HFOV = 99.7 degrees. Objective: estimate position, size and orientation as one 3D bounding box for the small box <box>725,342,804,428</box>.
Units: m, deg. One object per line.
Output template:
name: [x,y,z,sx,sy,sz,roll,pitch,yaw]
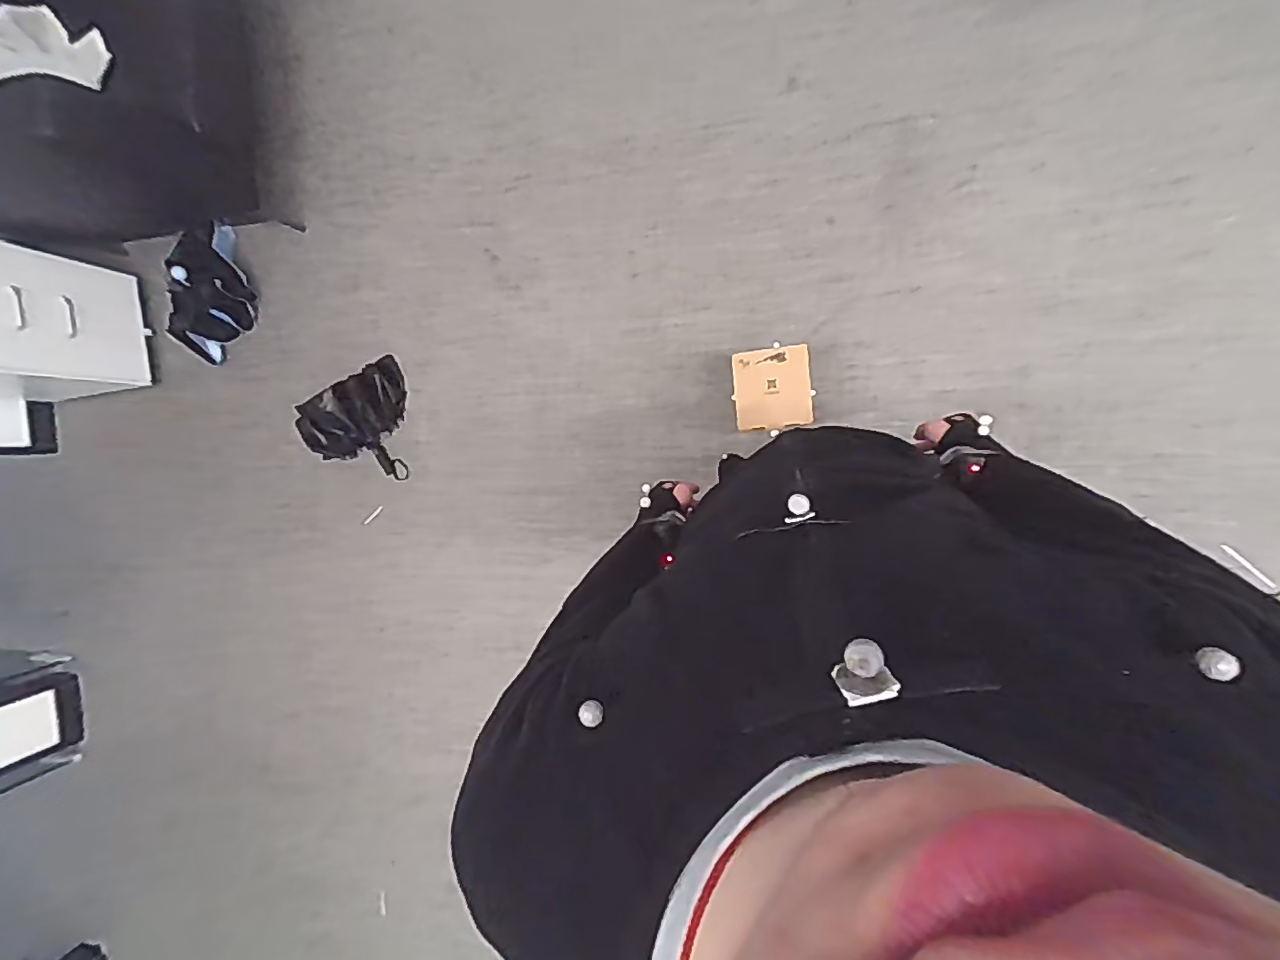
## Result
small box: [0.297,-0.219,1.281,0.168,0.176,0.179,-5,94,14]
